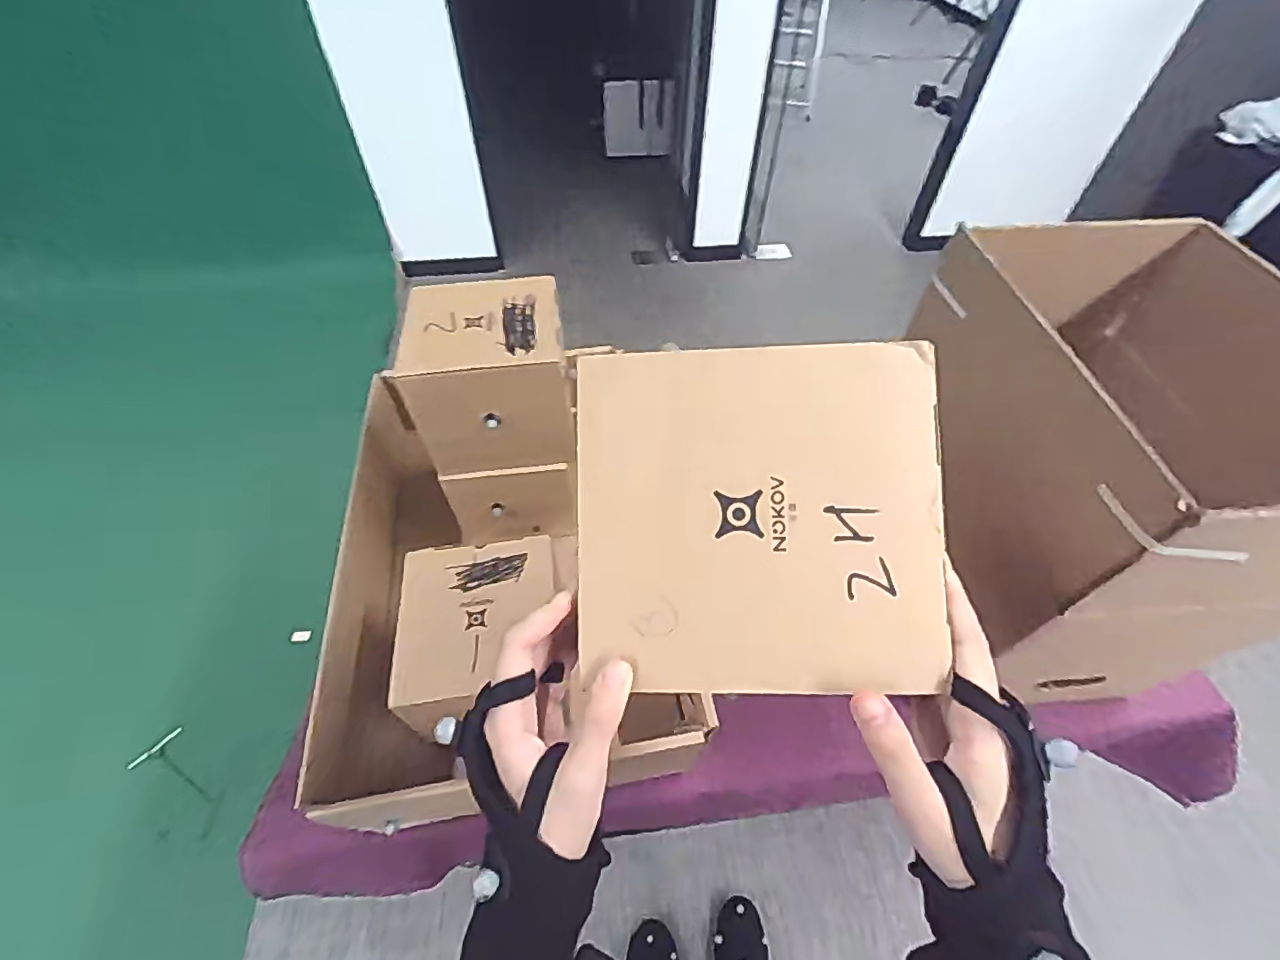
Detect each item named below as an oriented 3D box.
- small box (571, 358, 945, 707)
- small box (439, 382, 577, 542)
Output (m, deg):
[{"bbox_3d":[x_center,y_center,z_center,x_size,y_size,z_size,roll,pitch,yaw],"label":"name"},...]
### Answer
[{"bbox_3d":[0.061,0.028,0.339,0.179,0.176,0.168,0,86,5],"label":"small box"},{"bbox_3d":[-0.185,-0.020,0.808,0.168,0.176,0.179,-6,52,-4],"label":"small box"}]
